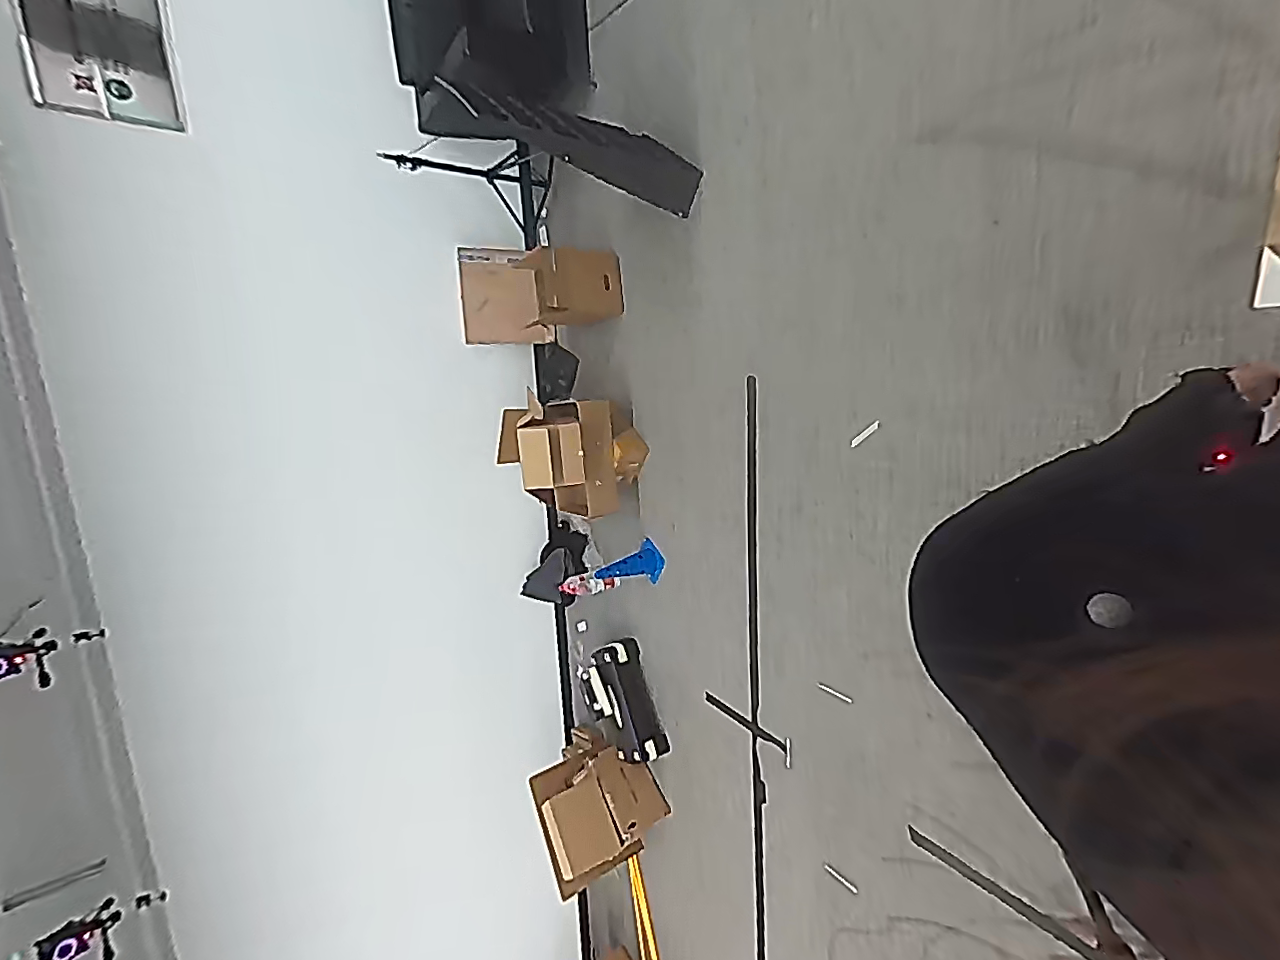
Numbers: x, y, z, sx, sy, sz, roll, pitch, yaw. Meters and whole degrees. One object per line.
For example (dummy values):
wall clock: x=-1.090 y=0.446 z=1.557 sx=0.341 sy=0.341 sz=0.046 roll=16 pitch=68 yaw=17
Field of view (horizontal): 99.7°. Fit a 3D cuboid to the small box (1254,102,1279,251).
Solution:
small box: x=0.783 y=-0.341 z=0.557 sx=0.168 sy=0.176 sz=0.179 roll=13 pitch=109 yaw=54
